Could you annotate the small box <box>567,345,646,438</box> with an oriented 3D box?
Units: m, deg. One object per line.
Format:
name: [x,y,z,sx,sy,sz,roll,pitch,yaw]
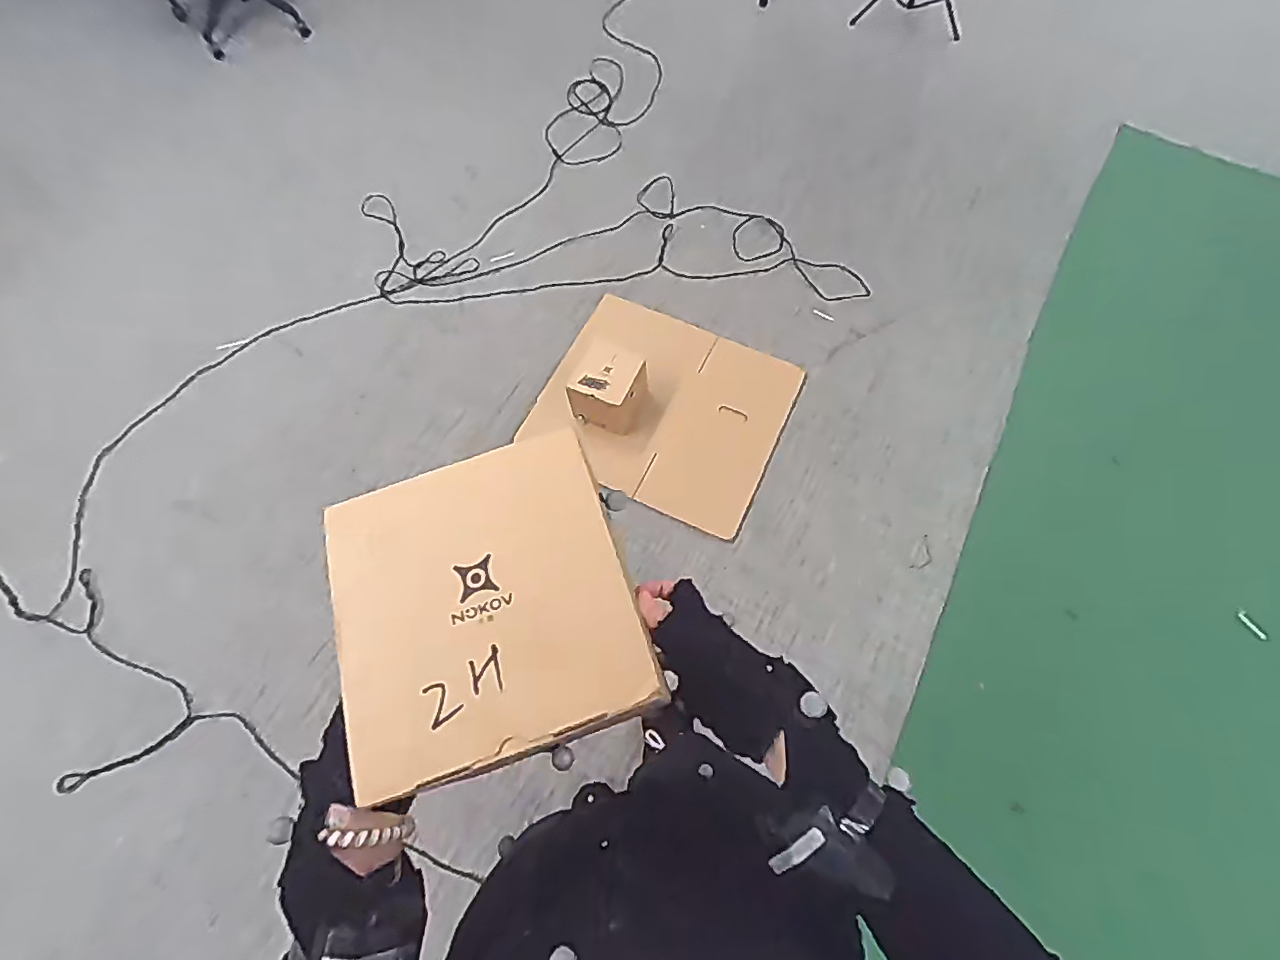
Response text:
small box: [-0.087,-0.246,1.540,0.168,0.176,0.179,22,69,10]

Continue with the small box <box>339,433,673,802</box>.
small box: [-0.081,0.099,0.385,0.168,0.176,0.179,-19,66,-3]
